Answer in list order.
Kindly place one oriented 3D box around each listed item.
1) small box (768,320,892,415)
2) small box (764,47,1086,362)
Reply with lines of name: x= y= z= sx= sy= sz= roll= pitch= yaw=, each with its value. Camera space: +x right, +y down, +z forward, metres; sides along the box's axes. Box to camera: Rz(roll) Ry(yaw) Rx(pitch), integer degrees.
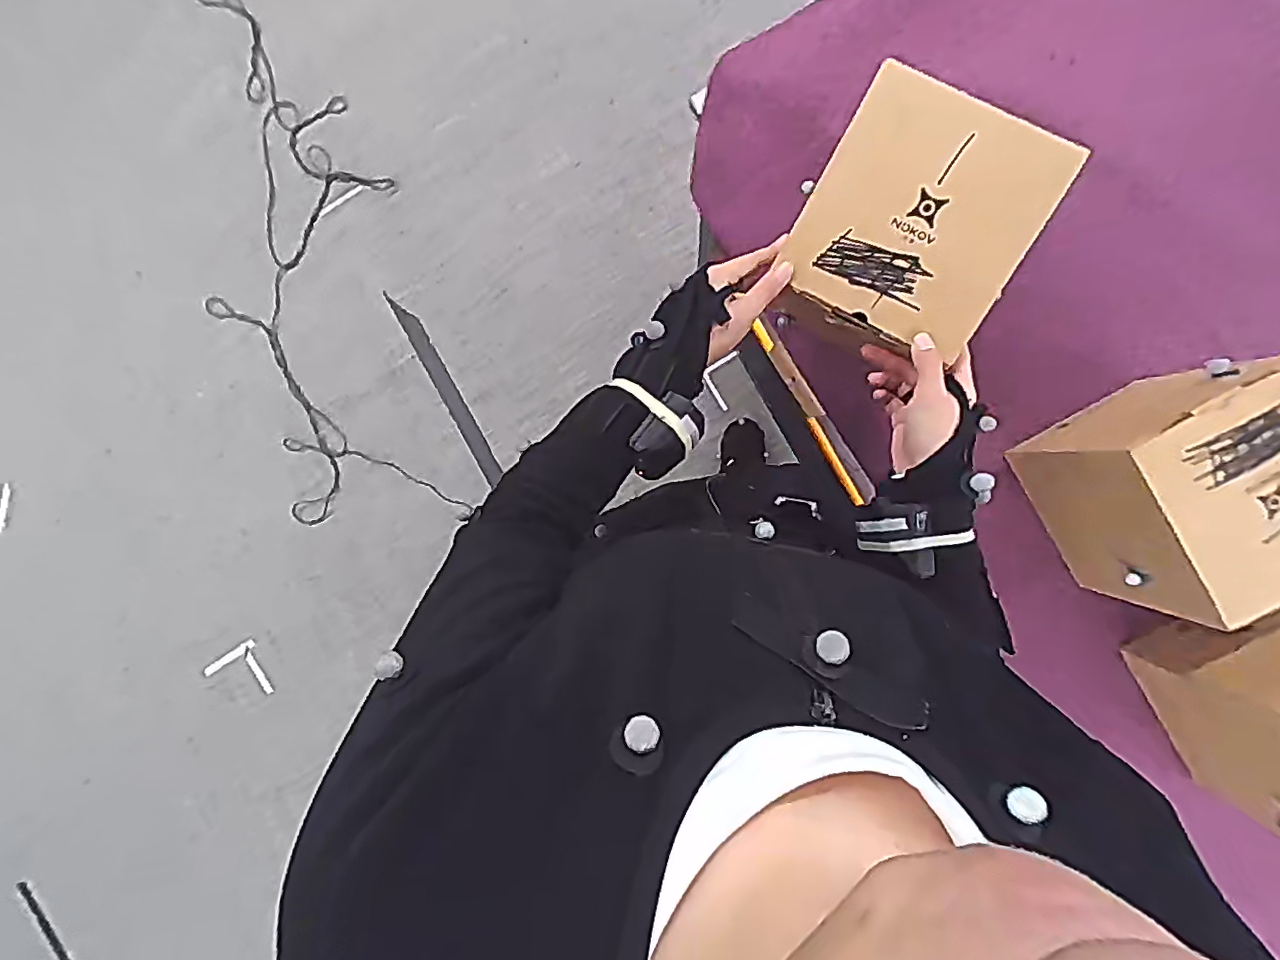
small box: x=0.390 y=-0.252 z=1.141 sx=0.168 sy=0.176 sz=0.179 roll=-35 pitch=88 yaw=7
small box: x=0.226 y=-0.220 z=0.488 sx=0.168 sy=0.176 sz=0.179 roll=29 pitch=102 yaw=4
